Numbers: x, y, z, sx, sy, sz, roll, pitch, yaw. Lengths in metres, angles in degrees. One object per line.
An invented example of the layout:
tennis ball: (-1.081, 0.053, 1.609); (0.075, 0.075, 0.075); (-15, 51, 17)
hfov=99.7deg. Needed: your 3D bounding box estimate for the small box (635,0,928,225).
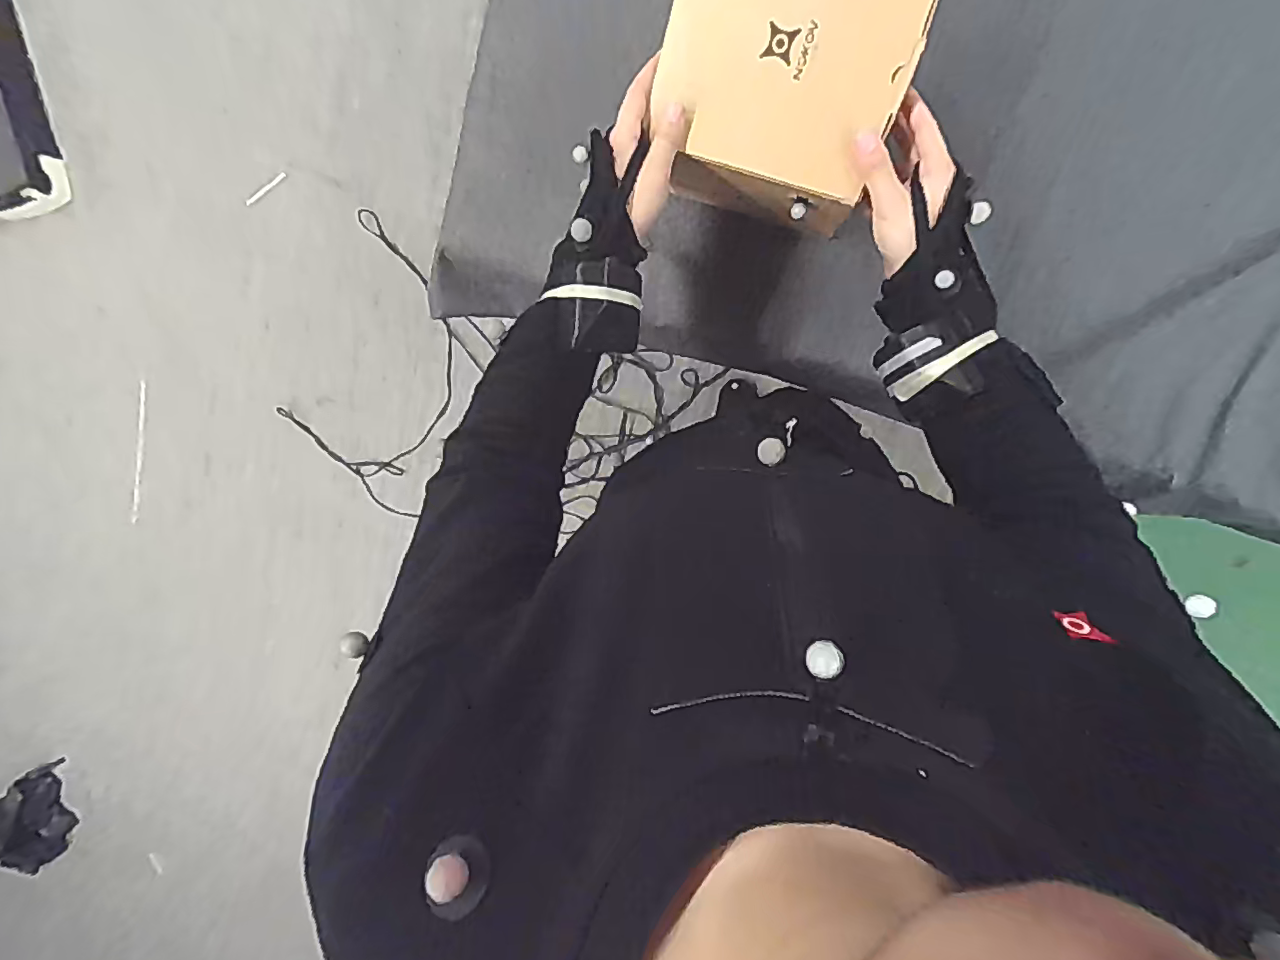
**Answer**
small box: (0.115, -0.332, 0.454); (0.179, 0.176, 0.168); (19, 108, 5)
